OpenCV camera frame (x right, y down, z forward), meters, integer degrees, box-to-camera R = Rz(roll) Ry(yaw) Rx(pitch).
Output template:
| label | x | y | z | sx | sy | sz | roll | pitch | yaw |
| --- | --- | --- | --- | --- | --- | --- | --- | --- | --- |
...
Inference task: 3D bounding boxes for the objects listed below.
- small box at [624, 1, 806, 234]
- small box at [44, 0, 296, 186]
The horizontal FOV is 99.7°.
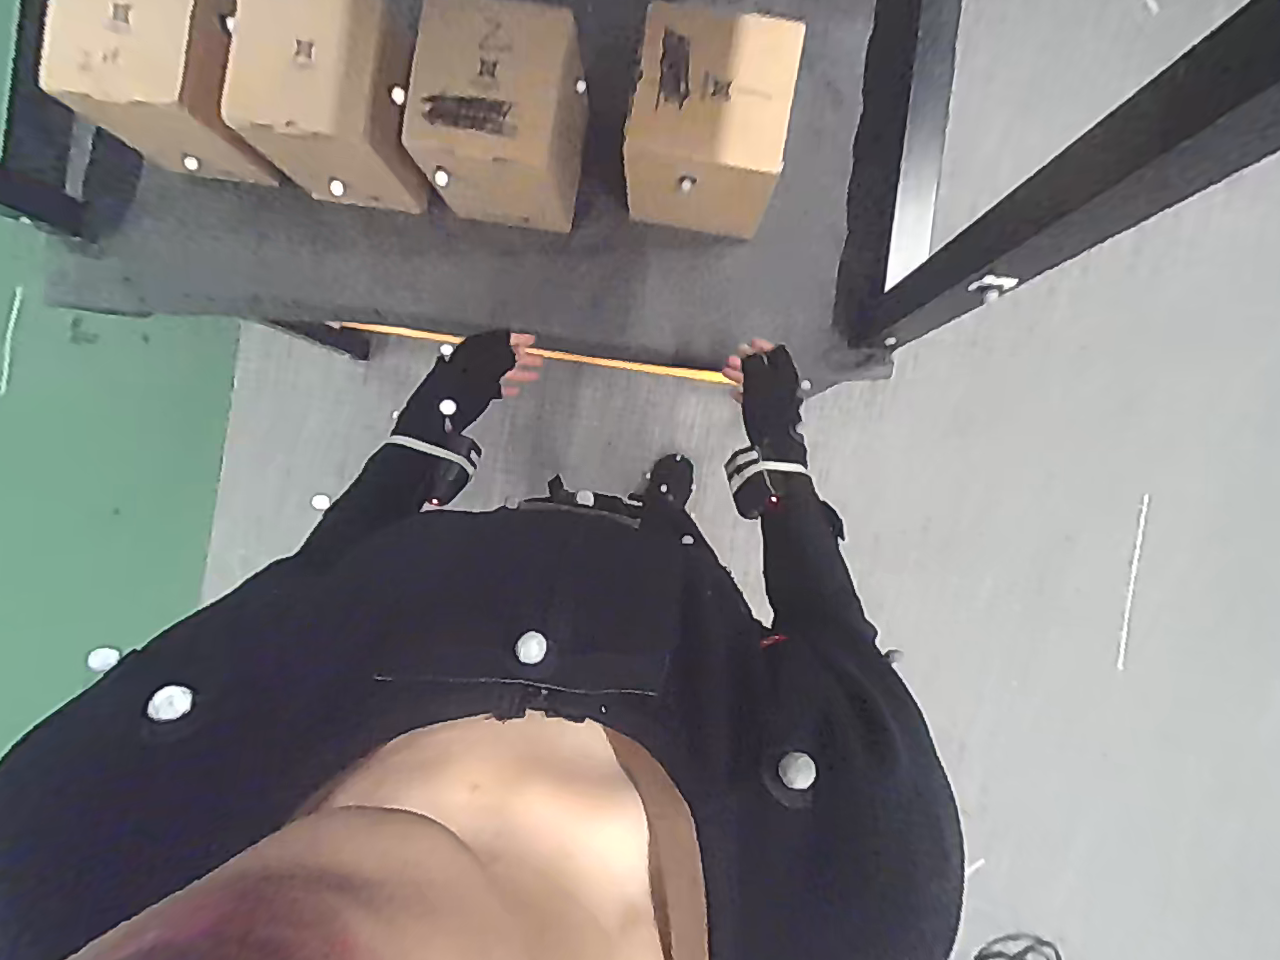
| label | x | y | z | sx | sy | sz | roll | pitch | yaw |
| --- | --- | --- | --- | --- | --- | --- | --- | --- | --- |
| small box | 0.083 | -0.430 | 0.671 | 0.179 | 0.176 | 0.168 | 11 | 91 | 0 |
| small box | -0.574 | -0.513 | 0.686 | 0.168 | 0.176 | 0.179 | 8 | 90 | 2 |
